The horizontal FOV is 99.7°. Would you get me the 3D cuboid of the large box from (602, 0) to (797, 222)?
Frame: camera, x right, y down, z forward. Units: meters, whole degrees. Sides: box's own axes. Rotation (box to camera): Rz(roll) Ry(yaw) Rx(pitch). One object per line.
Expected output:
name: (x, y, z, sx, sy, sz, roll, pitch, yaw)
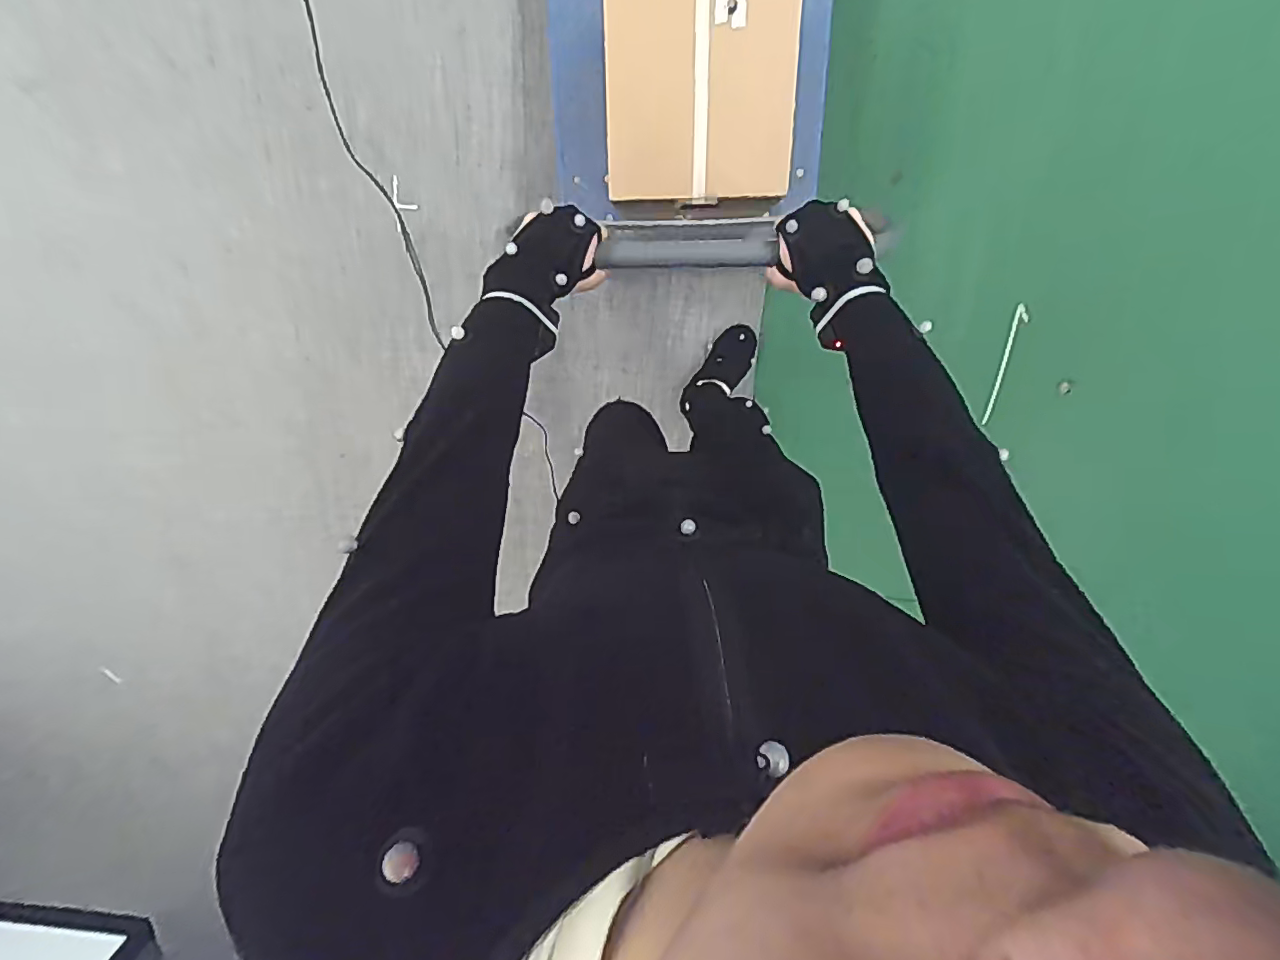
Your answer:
large box: (0.107, -0.731, 1.021, 0.320, 0.320, 0.408, 0, 108, 3)
